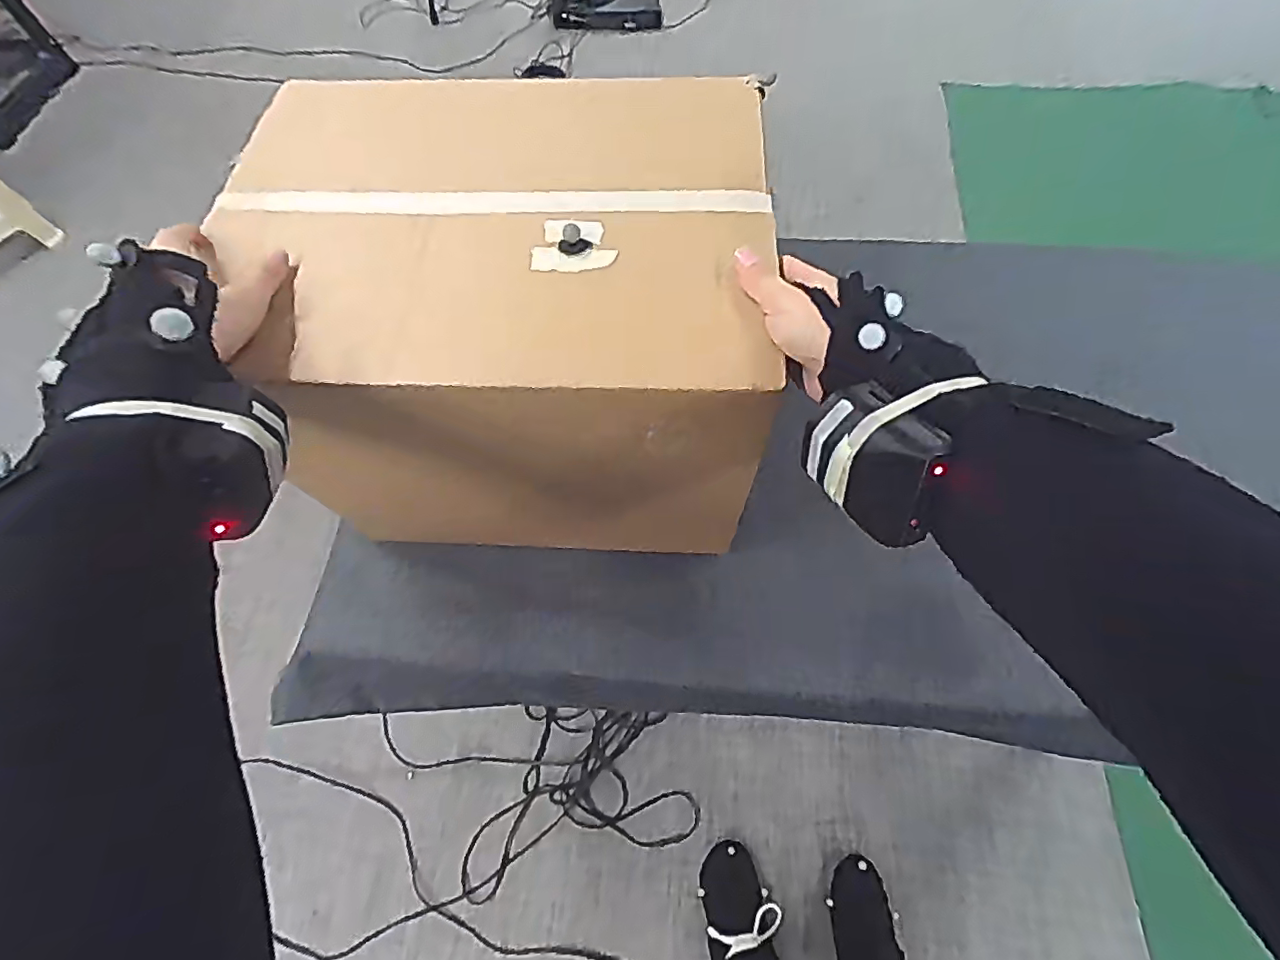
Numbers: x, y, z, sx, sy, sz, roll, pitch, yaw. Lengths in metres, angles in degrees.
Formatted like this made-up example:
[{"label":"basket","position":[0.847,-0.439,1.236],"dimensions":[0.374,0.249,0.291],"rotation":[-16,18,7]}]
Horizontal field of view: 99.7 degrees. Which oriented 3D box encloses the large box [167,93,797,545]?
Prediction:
[{"label":"large box","position":[-0.096,-0.130,0.532],"dimensions":[0.408,0.320,0.320],"rotation":[2,65,2]}]
